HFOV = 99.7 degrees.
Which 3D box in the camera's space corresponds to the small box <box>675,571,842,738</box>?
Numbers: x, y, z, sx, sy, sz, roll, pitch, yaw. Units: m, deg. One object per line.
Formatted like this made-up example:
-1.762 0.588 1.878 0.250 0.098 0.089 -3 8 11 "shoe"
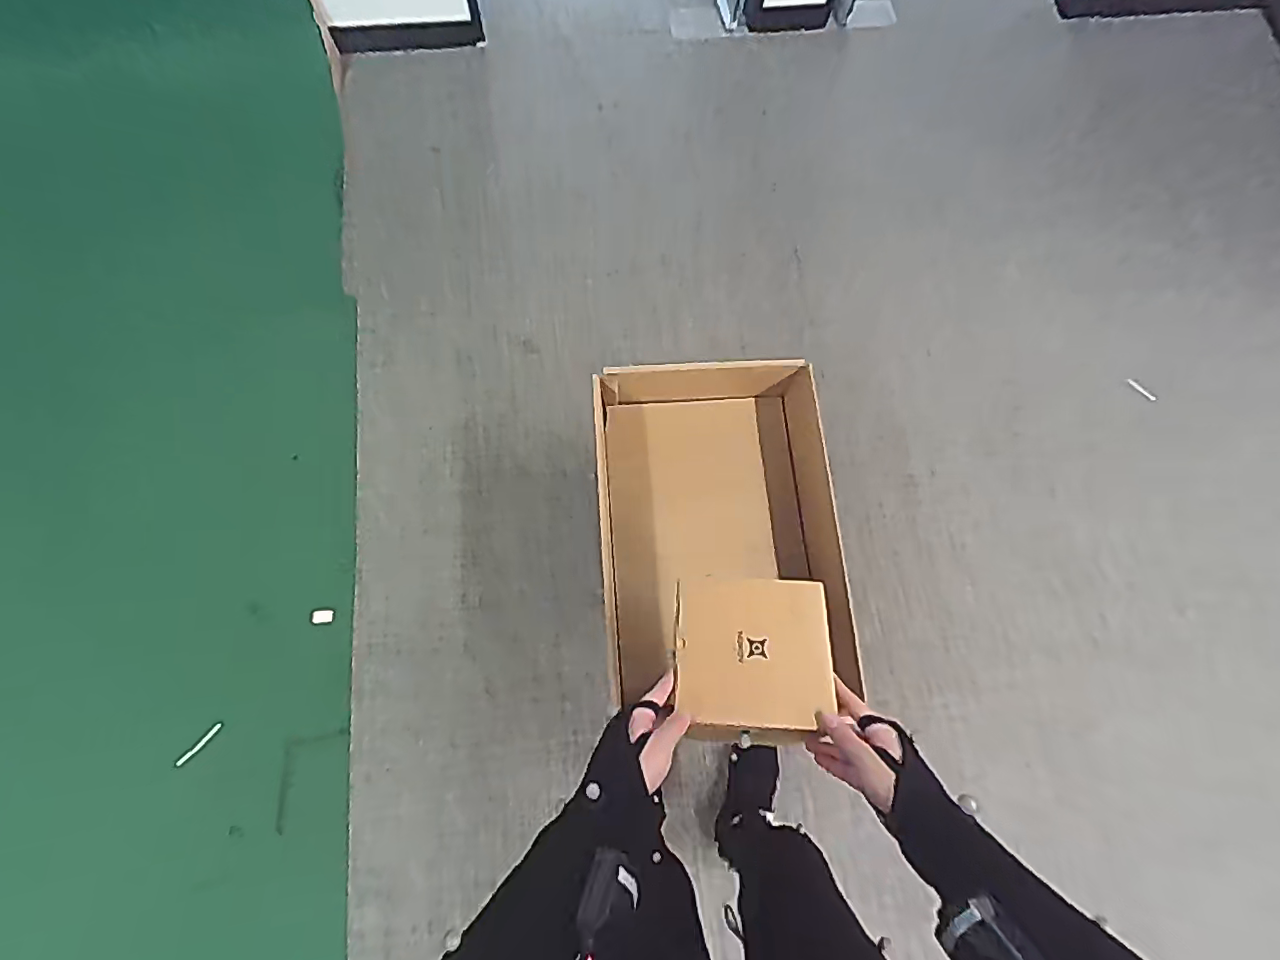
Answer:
0.136 0.224 0.681 0.179 0.176 0.168 2 60 4 "small box"
